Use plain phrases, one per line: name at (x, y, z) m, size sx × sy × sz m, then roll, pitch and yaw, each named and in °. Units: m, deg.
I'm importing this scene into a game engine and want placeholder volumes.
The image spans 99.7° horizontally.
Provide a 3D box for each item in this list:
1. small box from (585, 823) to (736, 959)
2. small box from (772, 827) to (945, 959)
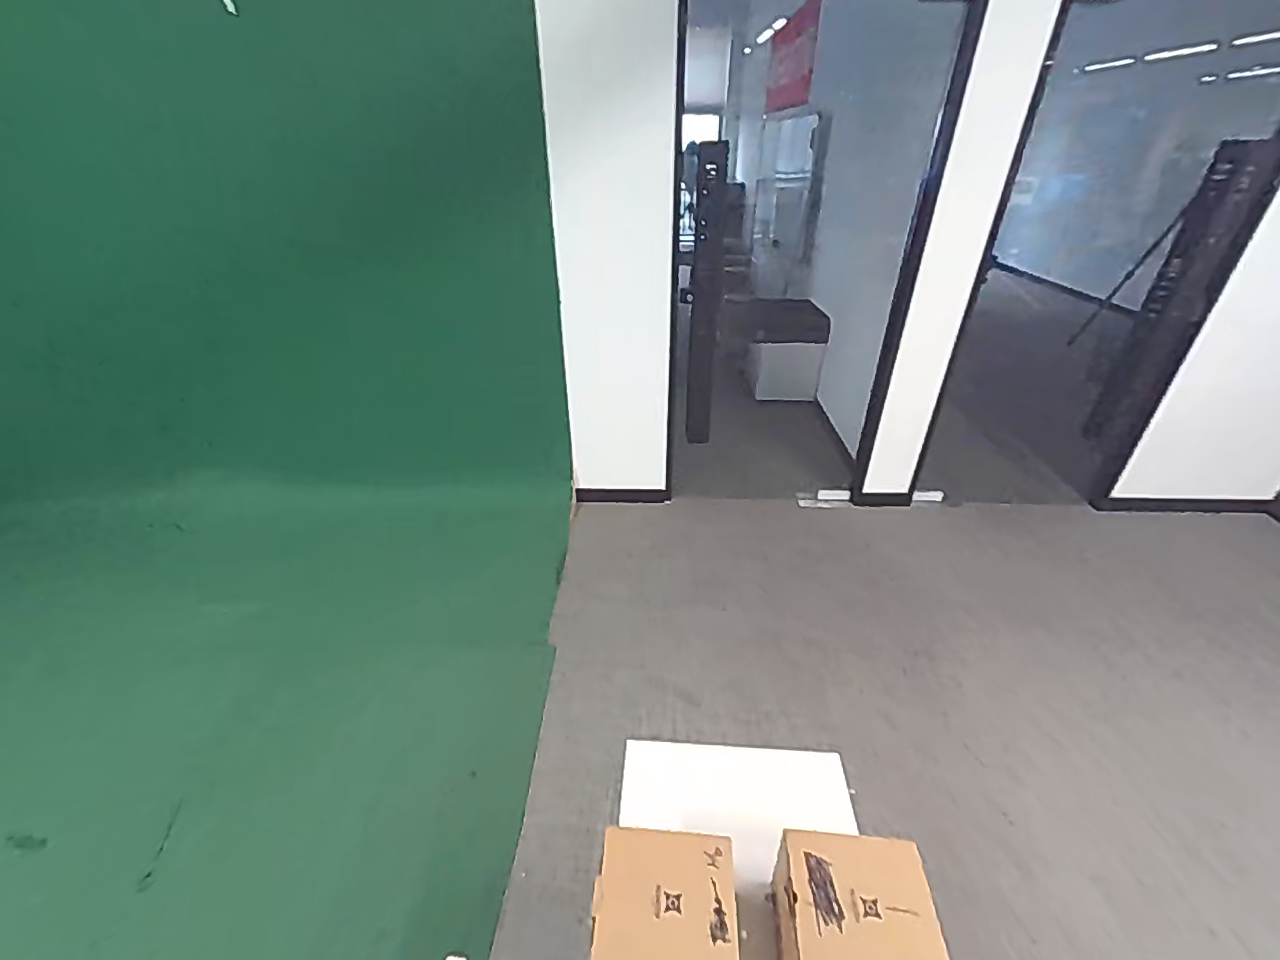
small box at (0.029, 0.591, 0.719) m, size 0.179 × 0.176 × 0.168 m, roll 4°, pitch 32°, yaw 3°
small box at (0.273, 0.596, 0.715) m, size 0.179 × 0.176 × 0.168 m, roll 3°, pitch 32°, yaw 5°
